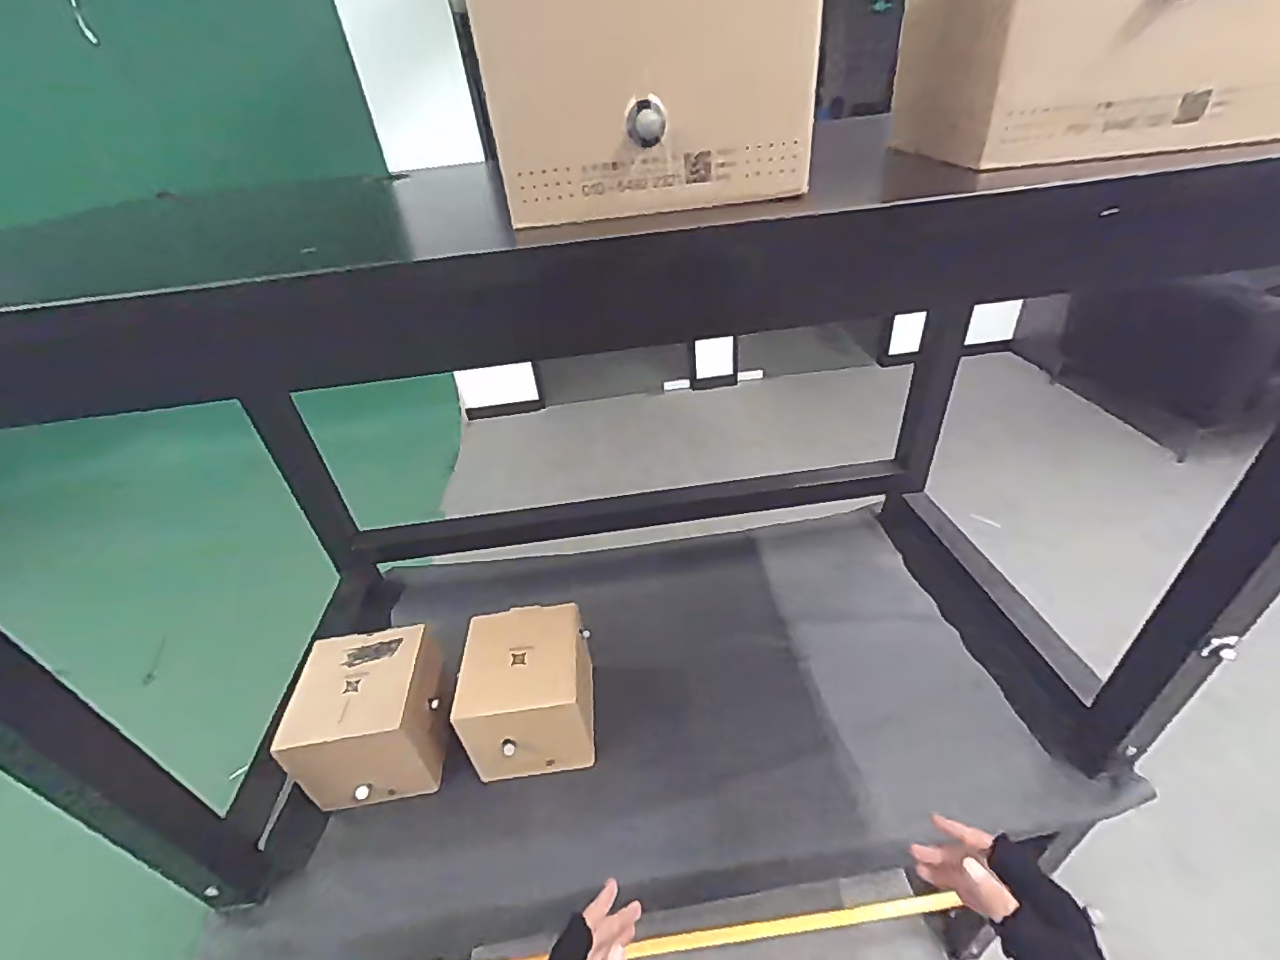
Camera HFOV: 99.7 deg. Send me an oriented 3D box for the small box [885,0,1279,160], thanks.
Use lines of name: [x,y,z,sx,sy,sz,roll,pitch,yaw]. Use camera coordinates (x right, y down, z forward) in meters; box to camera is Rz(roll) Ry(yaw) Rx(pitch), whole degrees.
small box: [0.268,-0.302,0.330,0.168,0.176,0.179,-2,34,6]

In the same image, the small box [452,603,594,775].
small box: [-0.161,0.315,0.808,0.168,0.176,0.179,-7,34,-1]

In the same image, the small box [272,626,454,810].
small box: [-0.386,0.346,0.796,0.168,0.176,0.179,-8,34,-3]
